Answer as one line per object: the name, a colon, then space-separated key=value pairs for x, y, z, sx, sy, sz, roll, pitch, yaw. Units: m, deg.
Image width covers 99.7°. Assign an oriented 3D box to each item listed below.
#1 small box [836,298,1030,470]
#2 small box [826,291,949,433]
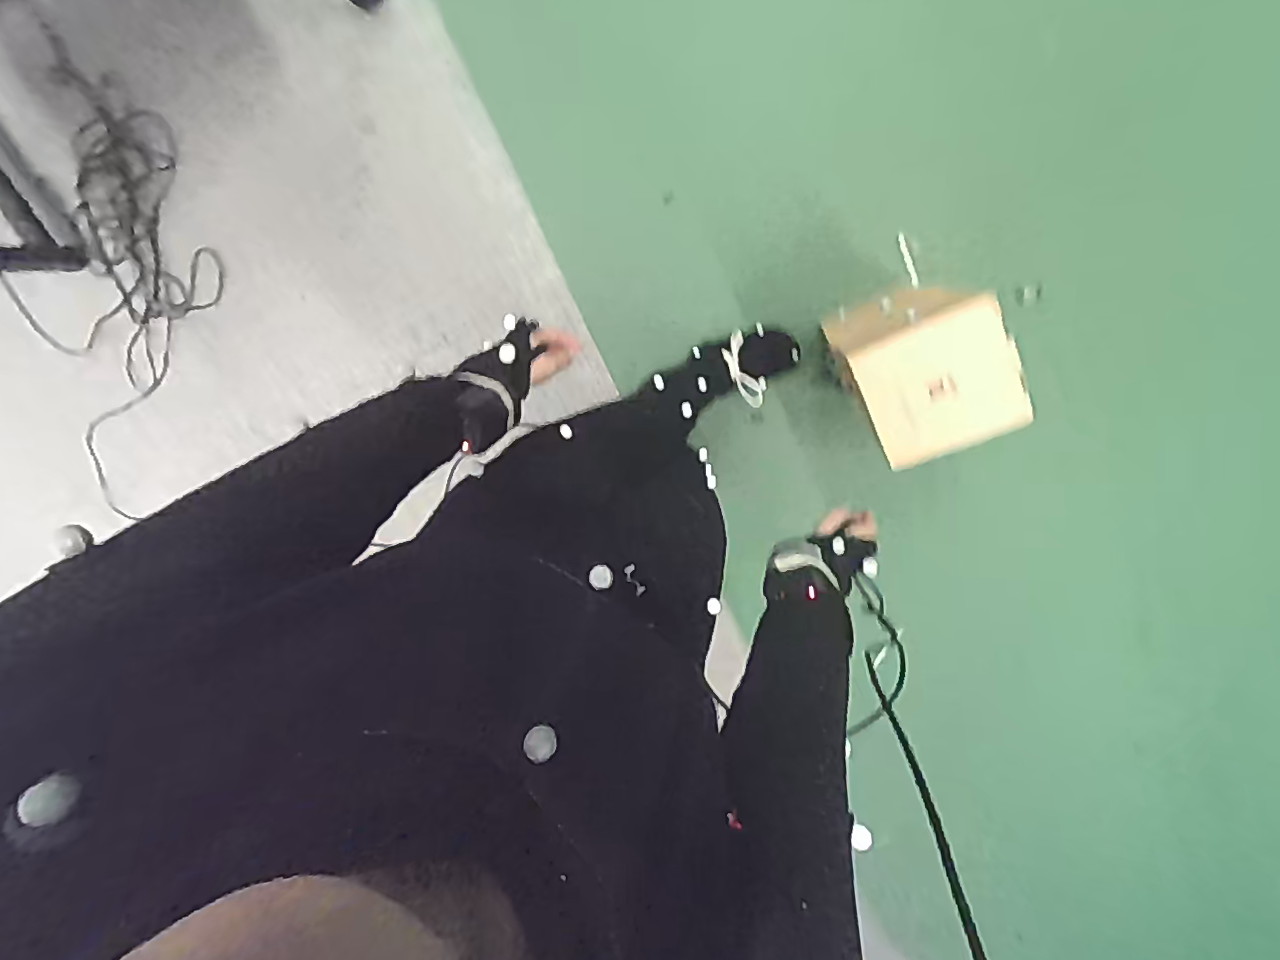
small box: x=0.395 y=-0.141 z=0.758 sx=0.179 sy=0.176 sz=0.168 roll=-22 pitch=104 yaw=20
small box: x=0.425 y=-0.201 z=0.906 sx=0.179 sy=0.176 sz=0.168 roll=-23 pitch=104 yaw=20
